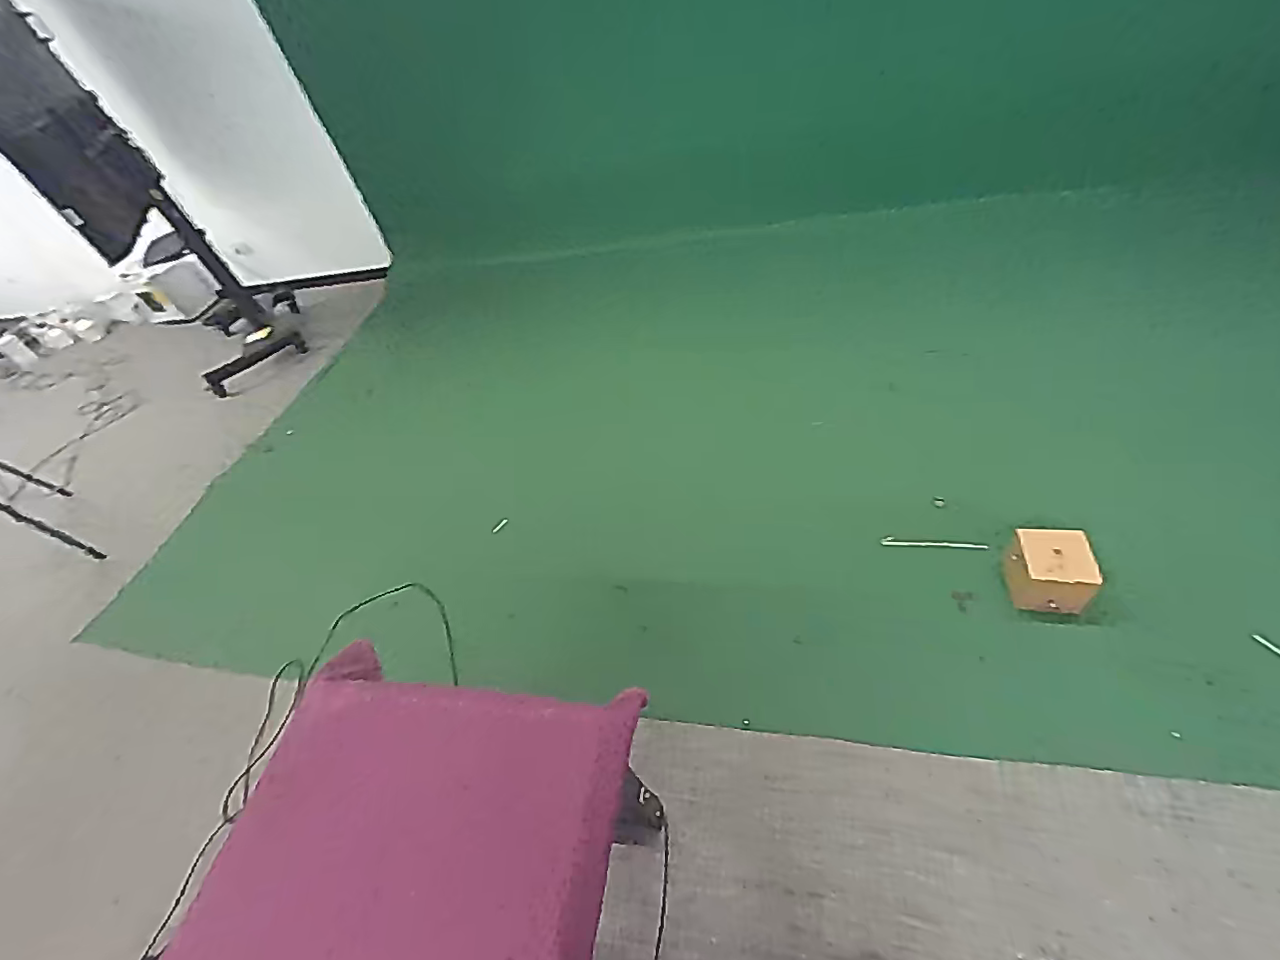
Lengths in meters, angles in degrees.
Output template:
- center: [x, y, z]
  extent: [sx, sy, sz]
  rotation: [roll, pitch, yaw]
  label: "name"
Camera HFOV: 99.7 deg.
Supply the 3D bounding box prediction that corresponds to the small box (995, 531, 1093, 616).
- center: [1.167, 0.272, 1.578]
  extent: [0.168, 0.176, 0.179]
  rotation: [2, 49, 16]
  label: "small box"
